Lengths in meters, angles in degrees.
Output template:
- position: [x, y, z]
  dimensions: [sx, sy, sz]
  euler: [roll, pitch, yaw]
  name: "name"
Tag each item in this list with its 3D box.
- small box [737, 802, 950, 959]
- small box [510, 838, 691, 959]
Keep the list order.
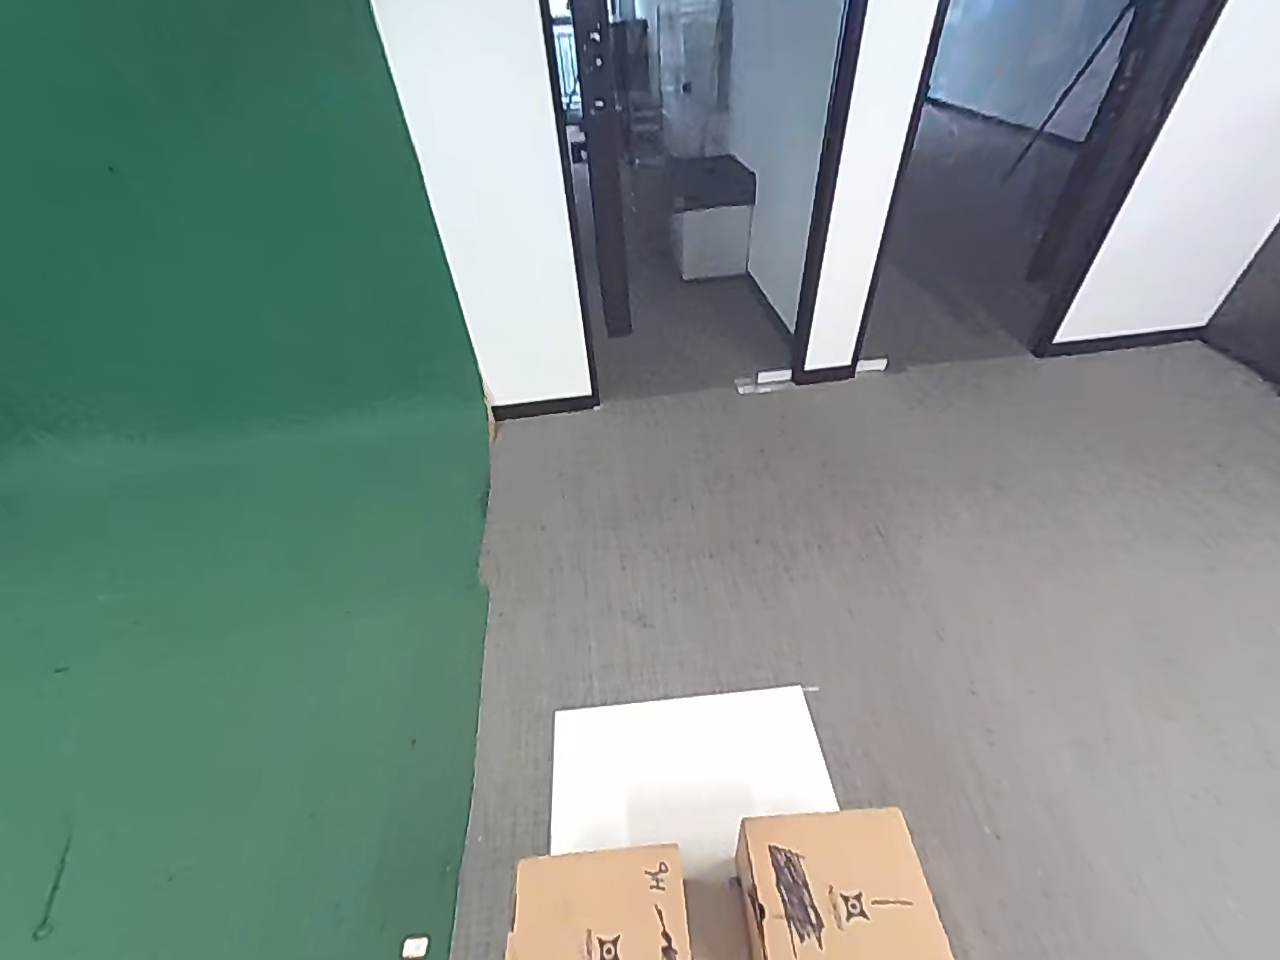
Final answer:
- position: [0.206, 0.478, 0.597]
  dimensions: [0.179, 0.176, 0.168]
  euler: [-4, 43, 0]
  name: "small box"
- position: [-0.036, 0.508, 0.580]
  dimensions: [0.179, 0.176, 0.168]
  euler: [-4, 43, -2]
  name: "small box"
